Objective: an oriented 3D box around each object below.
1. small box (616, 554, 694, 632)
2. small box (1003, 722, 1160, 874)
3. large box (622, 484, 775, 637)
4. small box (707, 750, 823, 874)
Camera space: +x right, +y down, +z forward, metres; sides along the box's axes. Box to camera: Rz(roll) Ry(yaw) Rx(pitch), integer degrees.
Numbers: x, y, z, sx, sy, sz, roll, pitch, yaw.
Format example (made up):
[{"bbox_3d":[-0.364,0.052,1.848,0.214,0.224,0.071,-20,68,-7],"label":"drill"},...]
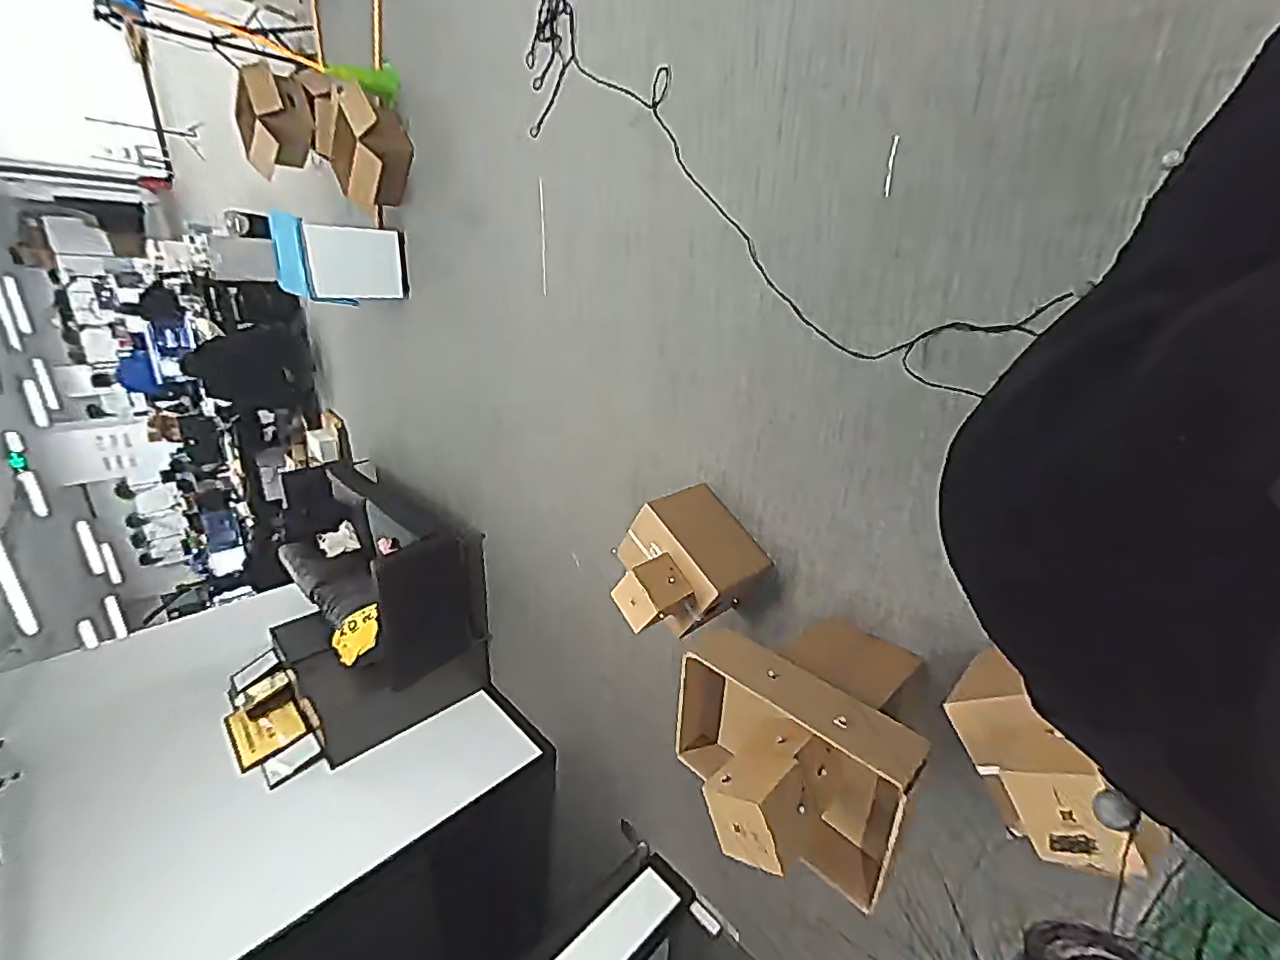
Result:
[{"bbox_3d":[0.052,0.375,1.808,0.168,0.176,0.179,54,137,21],"label":"small box"},{"bbox_3d":[0.831,0.582,1.015,0.168,0.176,0.179,-31,80,48],"label":"small box"},{"bbox_3d":[0.207,0.283,1.979,0.408,0.320,0.320,52,135,24],"label":"large box"},{"bbox_3d":[0.292,0.758,1.260,0.179,0.176,0.168,-19,89,48],"label":"small box"}]
